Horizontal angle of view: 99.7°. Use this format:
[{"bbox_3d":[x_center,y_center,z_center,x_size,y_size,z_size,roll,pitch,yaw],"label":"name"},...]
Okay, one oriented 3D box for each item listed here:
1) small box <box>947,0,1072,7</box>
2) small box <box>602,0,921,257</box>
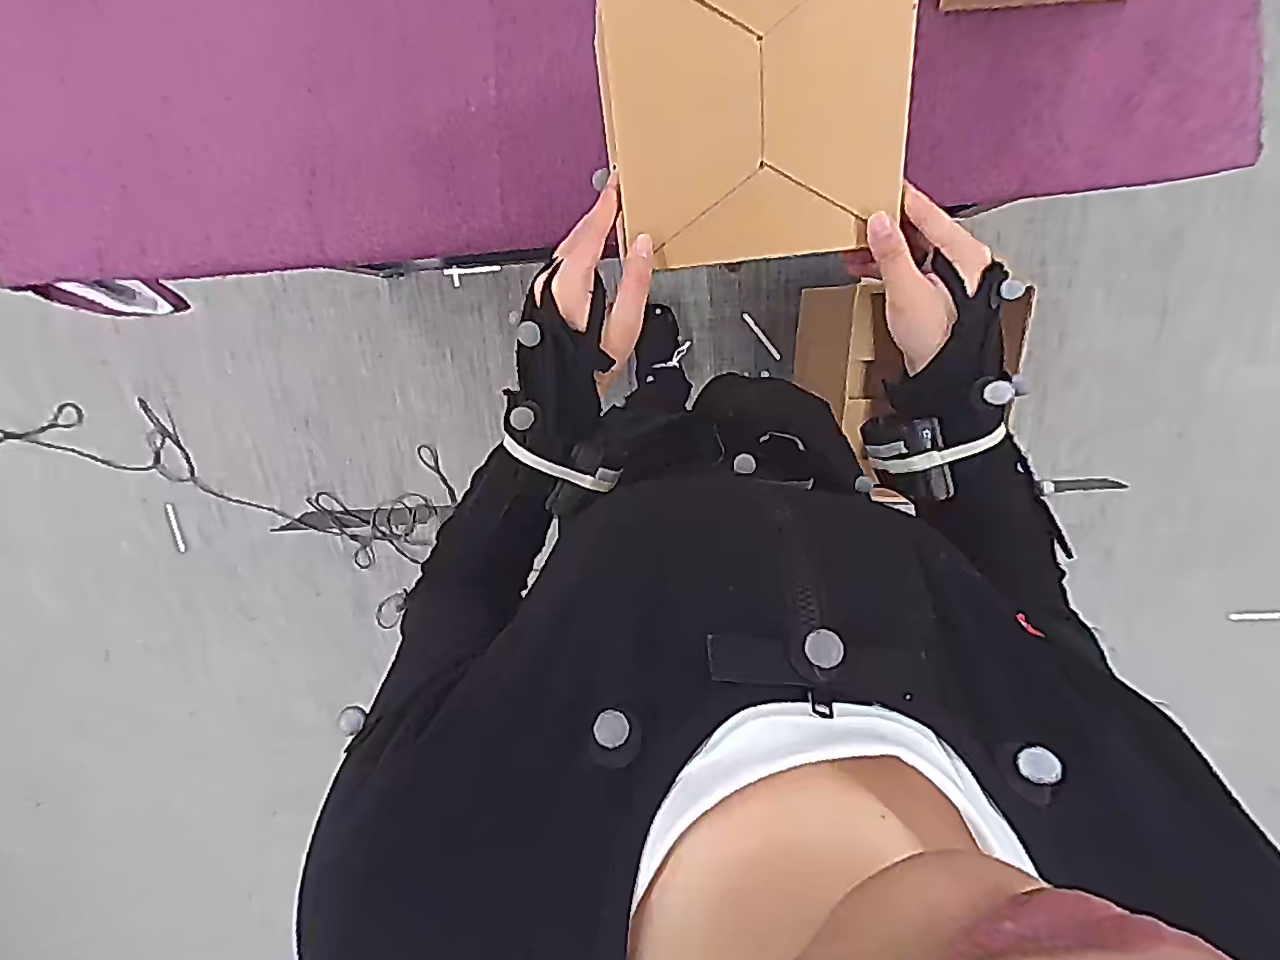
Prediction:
[{"bbox_3d":[0.359,-0.496,0.399,0.179,0.176,0.168,-2,104,2],"label":"small box"},{"bbox_3d":[0.069,-0.256,0.384,0.179,0.176,0.168,-7,114,0],"label":"small box"}]
